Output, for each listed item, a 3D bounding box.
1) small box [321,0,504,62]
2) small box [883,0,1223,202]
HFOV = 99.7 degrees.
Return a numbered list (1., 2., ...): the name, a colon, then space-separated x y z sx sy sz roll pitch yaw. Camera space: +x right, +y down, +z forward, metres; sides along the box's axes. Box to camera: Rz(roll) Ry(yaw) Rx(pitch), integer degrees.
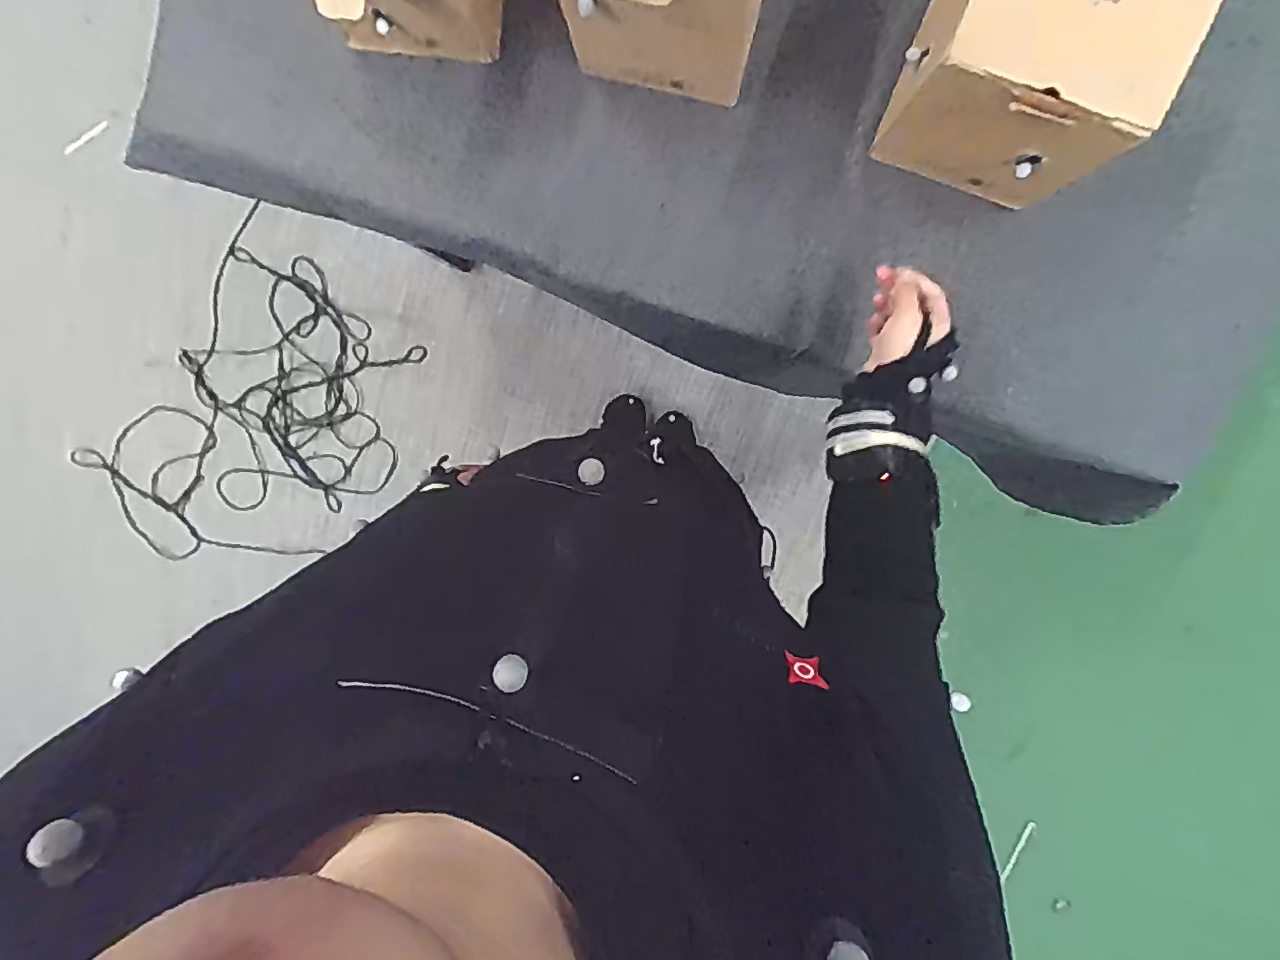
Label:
1. small box: -0.220 -0.522 0.477 0.168 0.176 0.179 8 100 3
2. small box: 0.336 -0.371 0.461 0.168 0.176 0.179 20 99 0
